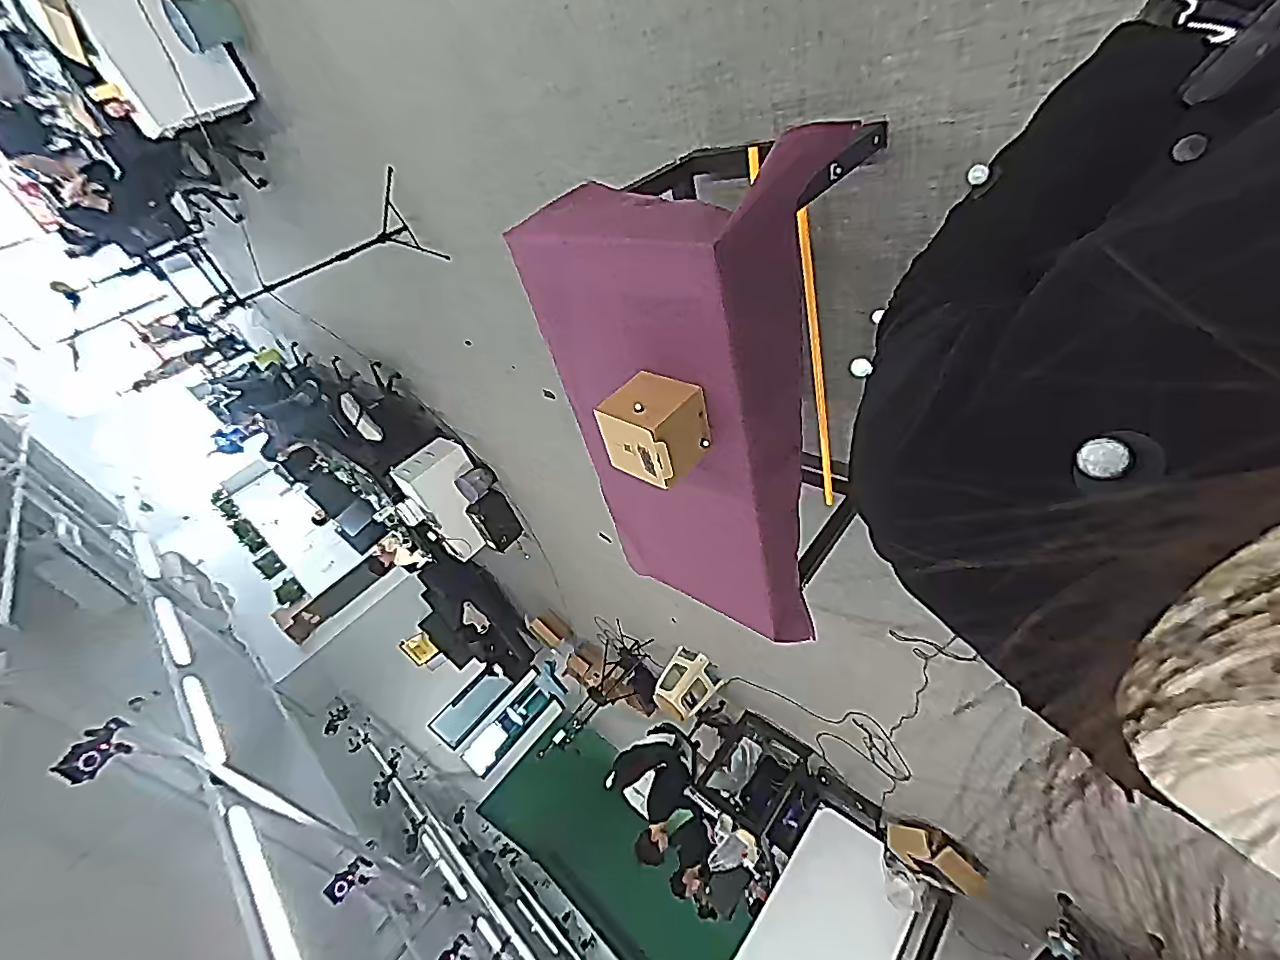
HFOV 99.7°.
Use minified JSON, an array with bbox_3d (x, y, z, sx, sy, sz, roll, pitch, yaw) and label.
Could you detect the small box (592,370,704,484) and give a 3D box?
[{"bbox_3d":[0.027,-0.124,1.201,0.179,0.176,0.168,24,145,37],"label":"small box"}]
